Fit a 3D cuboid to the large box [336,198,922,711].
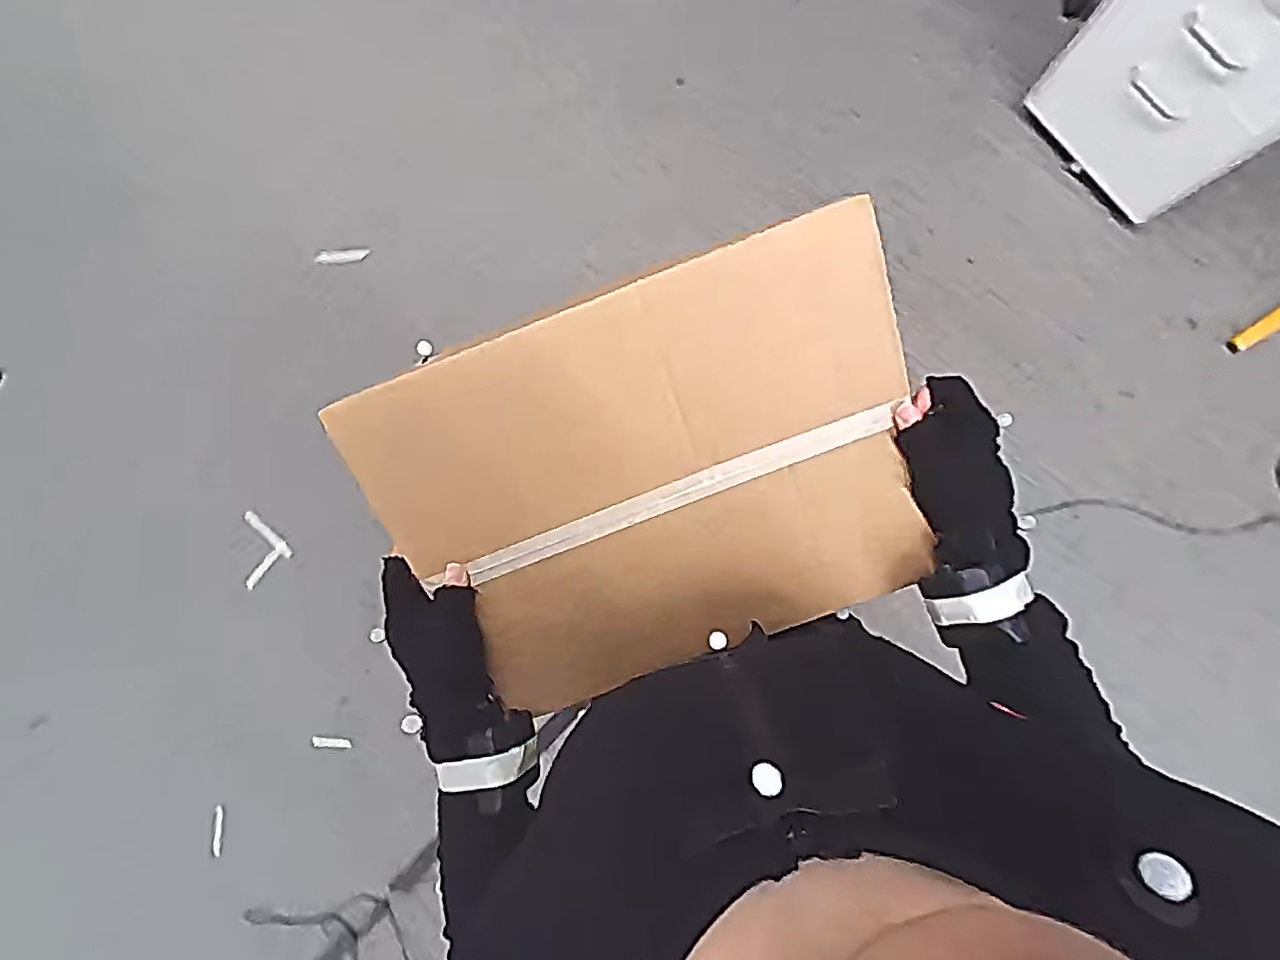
[{"bbox_3d":[-0.001,-0.040,0.574,0.408,0.320,0.320,-22,112,3],"label":"large box"}]
